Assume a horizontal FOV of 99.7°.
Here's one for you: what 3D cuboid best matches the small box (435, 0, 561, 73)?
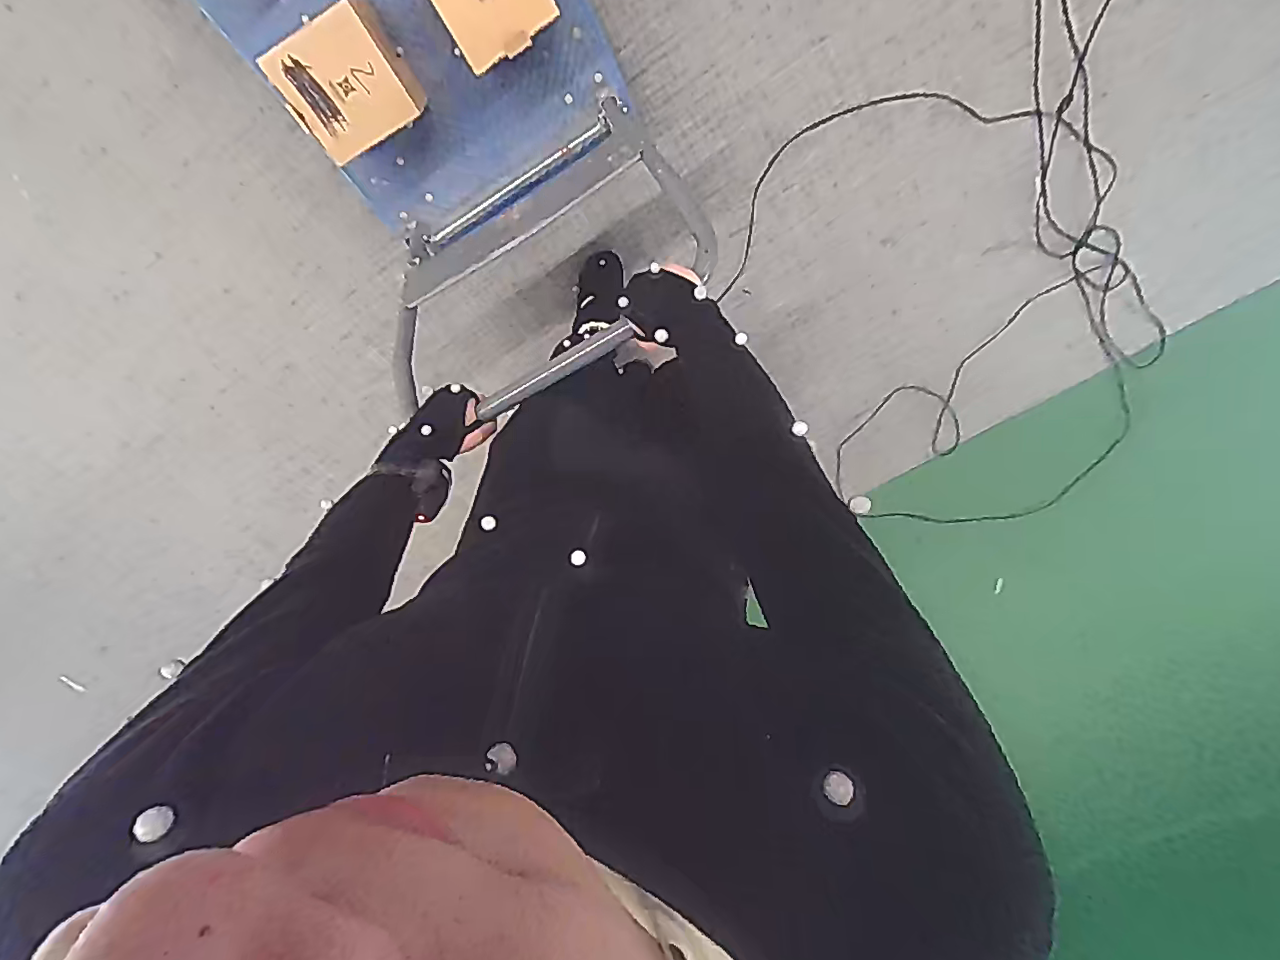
[{"bbox_3d":[-0.249,-0.805,0.870,0.168,0.176,0.179,-28,135,12],"label":"small box"}]
